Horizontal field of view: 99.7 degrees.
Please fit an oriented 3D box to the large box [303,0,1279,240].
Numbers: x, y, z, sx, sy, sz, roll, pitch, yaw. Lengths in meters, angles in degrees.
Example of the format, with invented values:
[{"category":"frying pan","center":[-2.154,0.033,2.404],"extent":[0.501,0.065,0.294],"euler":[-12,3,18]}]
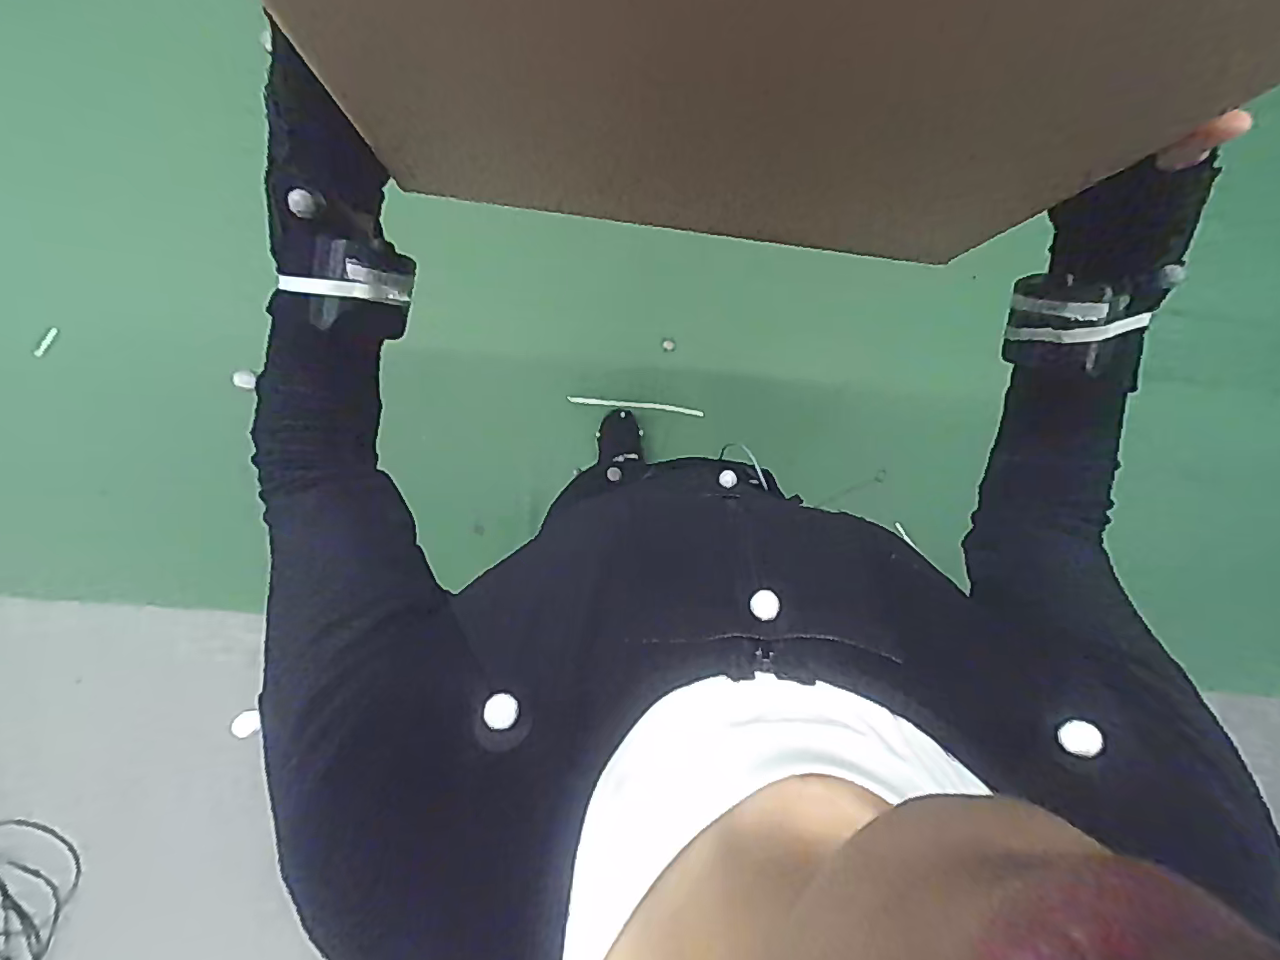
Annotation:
[{"category":"large box","center":[0.062,-0.337,0.239],"extent":[0.408,0.320,0.320],"euler":[5,94,-6]}]
